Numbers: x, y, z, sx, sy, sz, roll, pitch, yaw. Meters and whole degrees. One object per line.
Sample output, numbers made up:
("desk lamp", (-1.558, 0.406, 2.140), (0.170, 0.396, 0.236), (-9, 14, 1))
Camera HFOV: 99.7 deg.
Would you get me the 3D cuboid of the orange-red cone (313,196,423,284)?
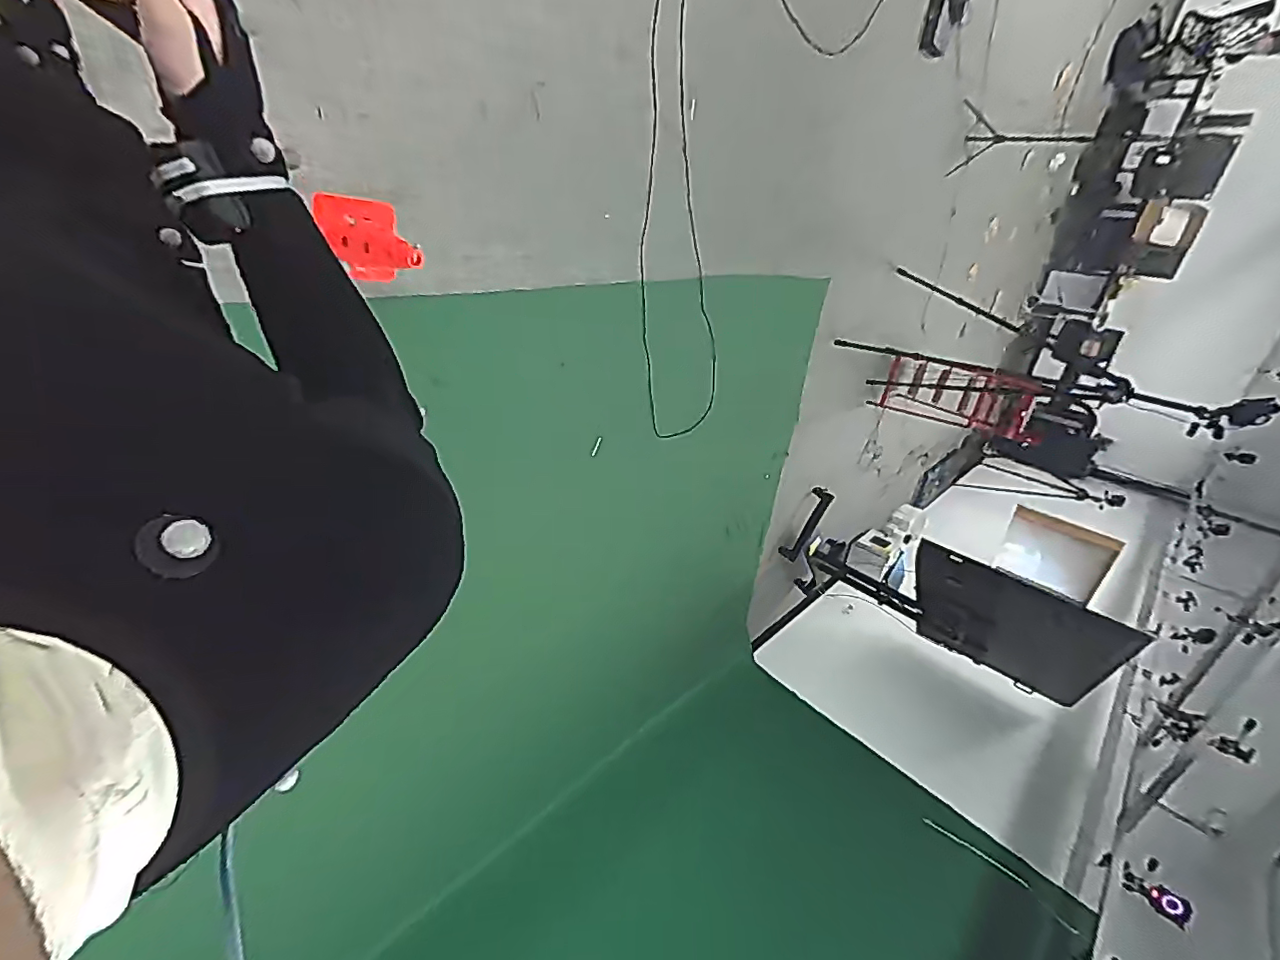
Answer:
("orange-red cone", (-0.632, -0.560, 1.326), (0.199, 0.360, 0.198), (-14, 124, -46))
